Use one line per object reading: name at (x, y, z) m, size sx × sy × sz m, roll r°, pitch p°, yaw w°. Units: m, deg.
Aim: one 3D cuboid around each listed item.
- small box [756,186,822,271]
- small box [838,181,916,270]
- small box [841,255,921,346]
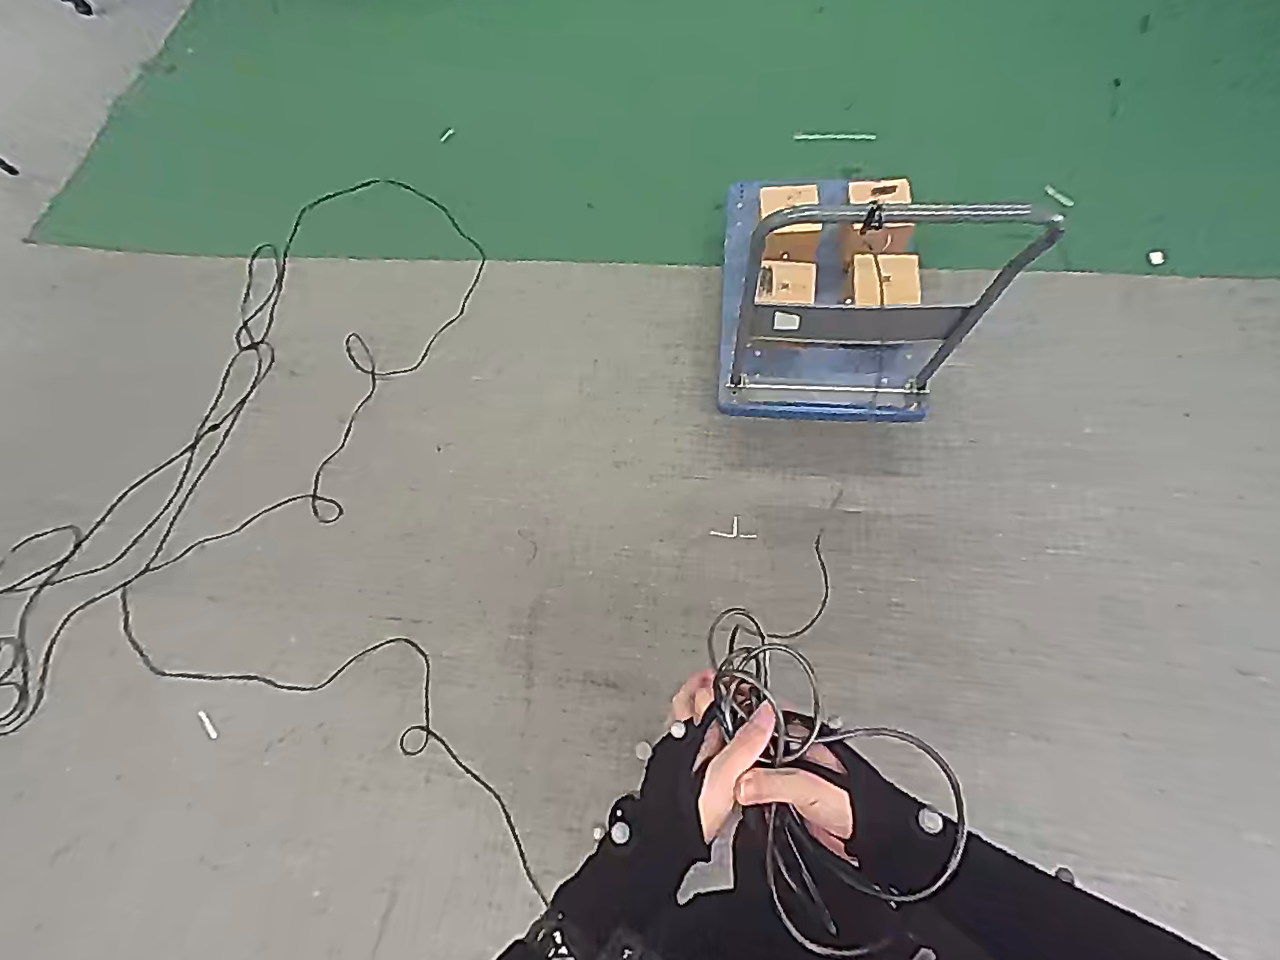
small box at (0.443, -0.750, 1.629) m, size 0.168 × 0.176 × 0.179 m, roll 1°, pitch 69°, yaw 5°
small box at (0.693, -0.751, 1.603) m, size 0.168 × 0.176 × 0.179 m, roll 0°, pitch 70°, yaw 7°
small box at (0.664, -0.499, 1.509) m, size 0.168 × 0.176 × 0.179 m, roll 5°, pitch 70°, yaw 7°
